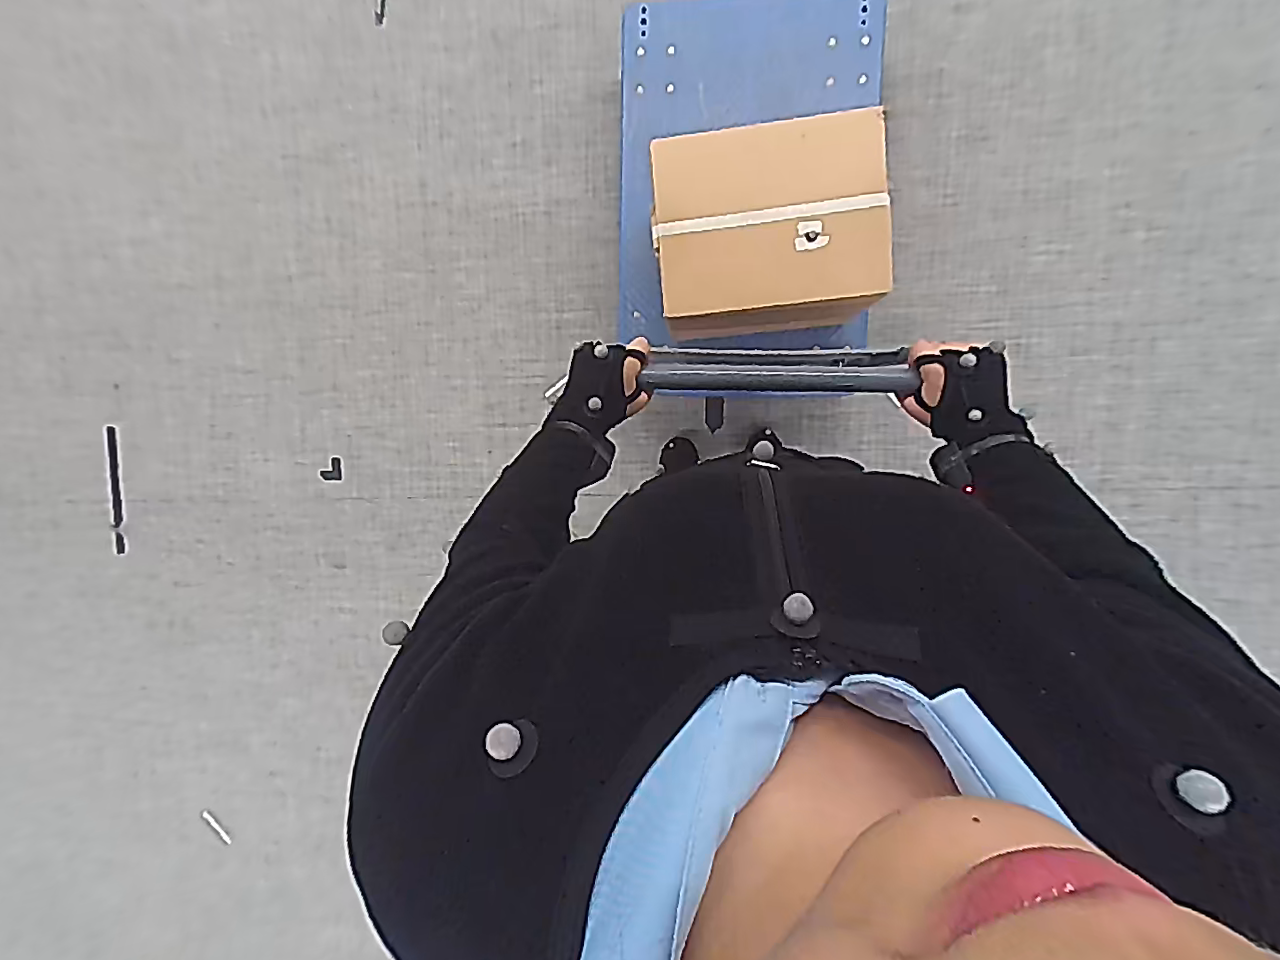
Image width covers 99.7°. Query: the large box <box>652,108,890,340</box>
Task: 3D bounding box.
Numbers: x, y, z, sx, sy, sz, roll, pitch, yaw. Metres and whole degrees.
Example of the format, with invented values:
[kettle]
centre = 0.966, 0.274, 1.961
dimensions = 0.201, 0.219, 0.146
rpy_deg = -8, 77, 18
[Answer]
[large box]
centre = 0.246, -0.490, 1.117
dimensions = 0.408, 0.320, 0.320
rpy_deg = -5, 96, 5
